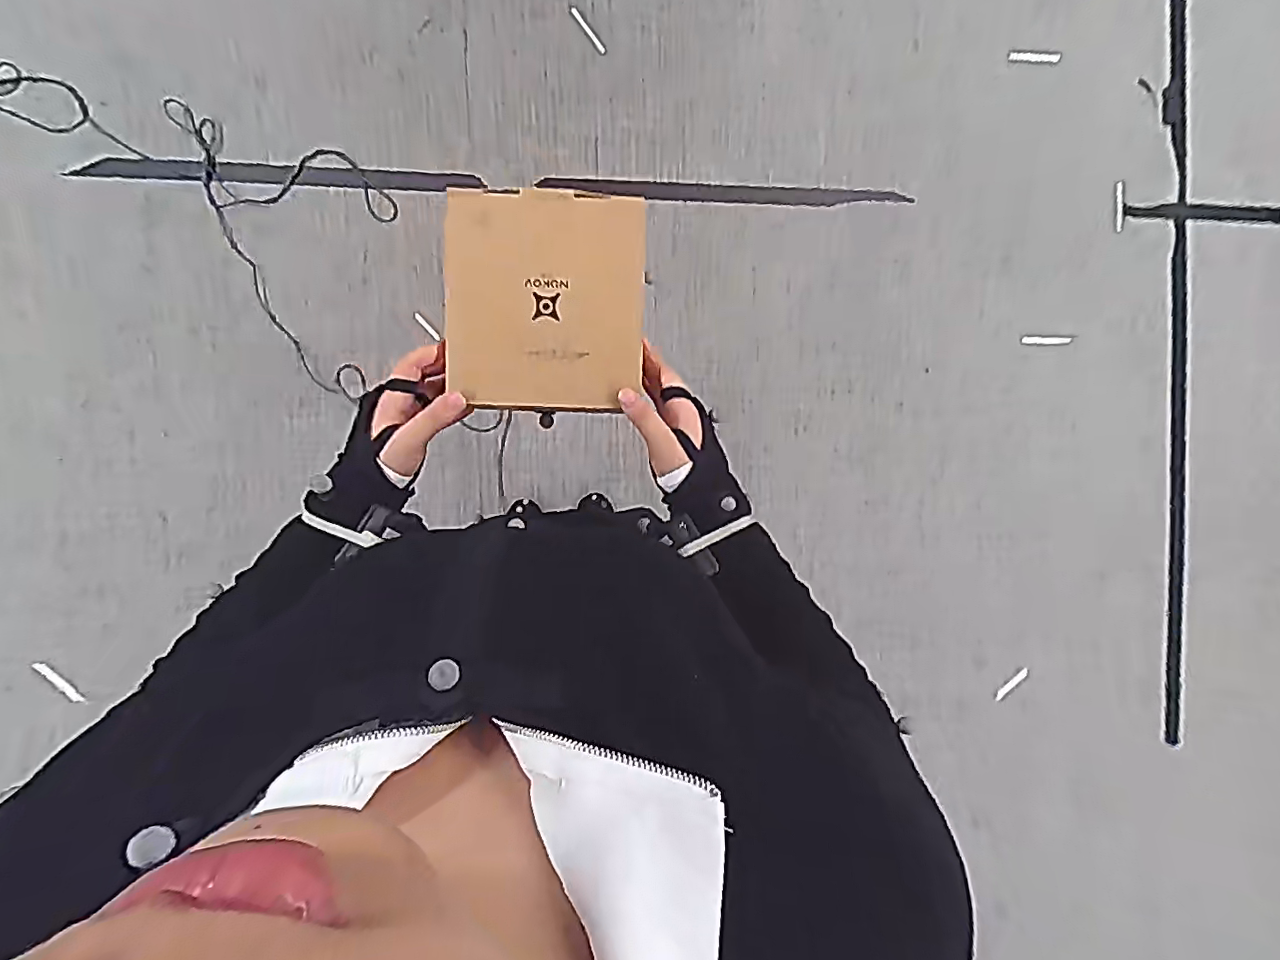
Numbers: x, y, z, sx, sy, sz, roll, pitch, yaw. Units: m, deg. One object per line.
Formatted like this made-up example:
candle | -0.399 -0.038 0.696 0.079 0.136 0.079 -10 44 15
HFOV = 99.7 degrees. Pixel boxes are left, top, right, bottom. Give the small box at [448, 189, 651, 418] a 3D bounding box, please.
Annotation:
small box | -0.081 -0.154 0.530 0.168 0.176 0.179 2 95 -4

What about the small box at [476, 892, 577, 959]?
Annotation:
small box | -0.194 0.849 0.932 0.168 0.176 0.179 2 89 -6
